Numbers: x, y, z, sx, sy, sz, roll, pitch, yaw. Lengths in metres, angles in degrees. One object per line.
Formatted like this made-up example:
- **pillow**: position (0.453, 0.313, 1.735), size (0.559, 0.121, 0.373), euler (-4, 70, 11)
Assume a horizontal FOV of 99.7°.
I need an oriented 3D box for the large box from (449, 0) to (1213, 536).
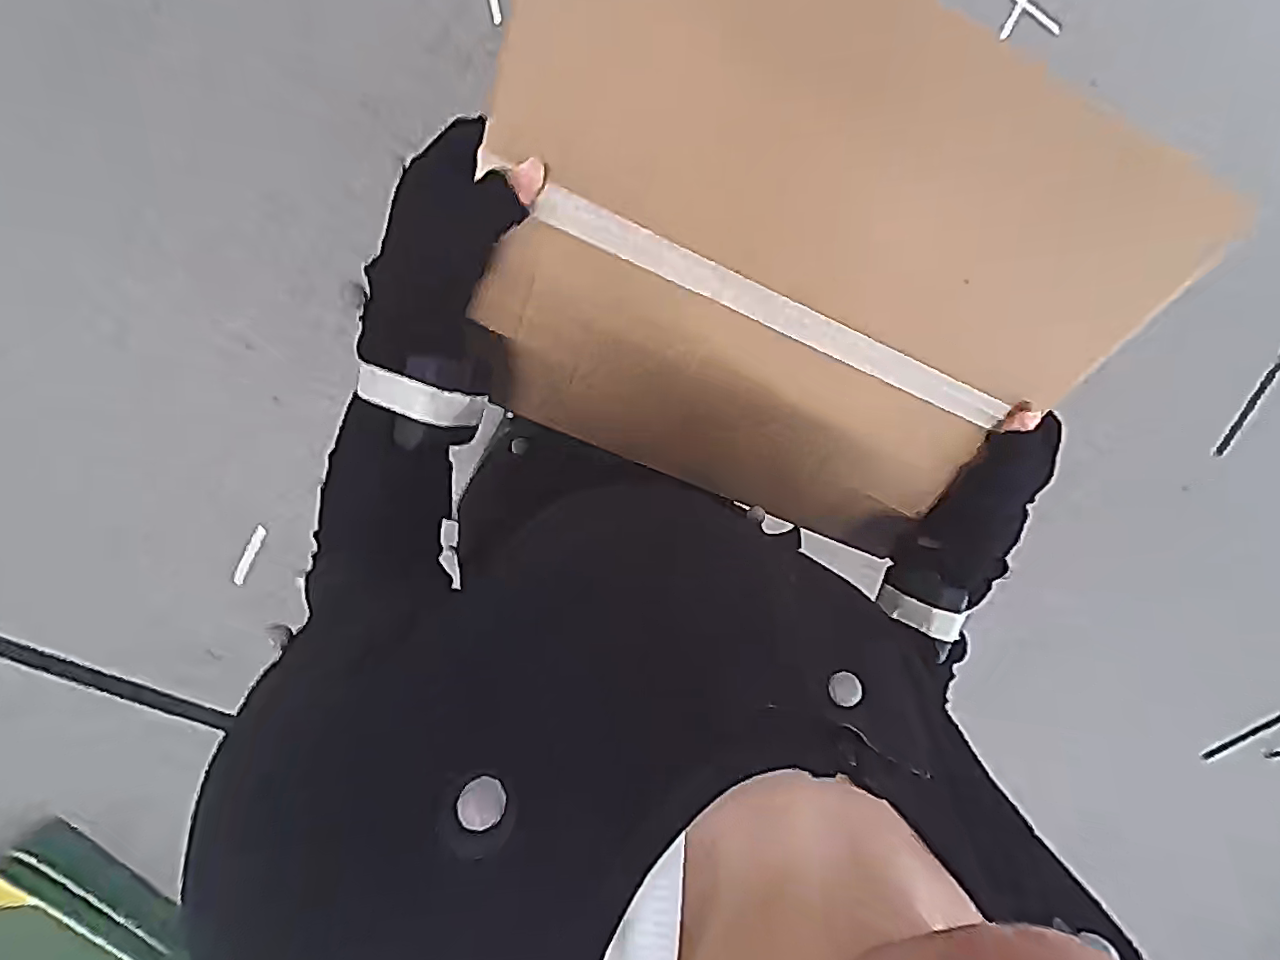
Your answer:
- **large box**: position (0.104, -0.212, 0.475), size (0.408, 0.320, 0.320), euler (21, 129, -11)
